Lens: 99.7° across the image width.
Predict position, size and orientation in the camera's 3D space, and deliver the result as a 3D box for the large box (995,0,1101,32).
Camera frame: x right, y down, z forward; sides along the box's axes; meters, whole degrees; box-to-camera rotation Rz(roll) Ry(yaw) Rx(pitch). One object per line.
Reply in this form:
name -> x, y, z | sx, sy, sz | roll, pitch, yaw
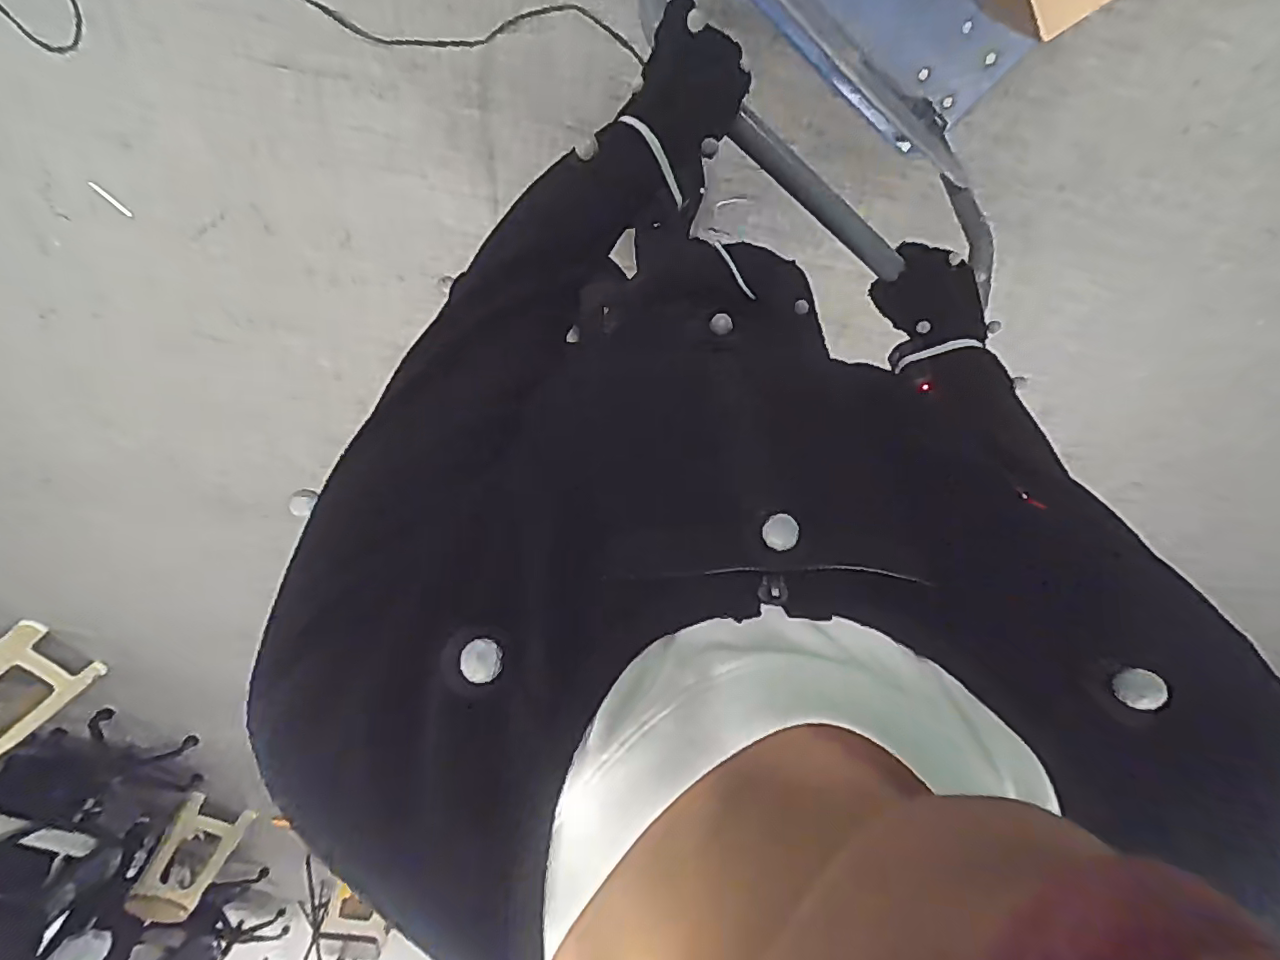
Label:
large box -> 0.546, -0.846, 0.615 | 0.320, 0.320, 0.408 | -23, 124, 34
